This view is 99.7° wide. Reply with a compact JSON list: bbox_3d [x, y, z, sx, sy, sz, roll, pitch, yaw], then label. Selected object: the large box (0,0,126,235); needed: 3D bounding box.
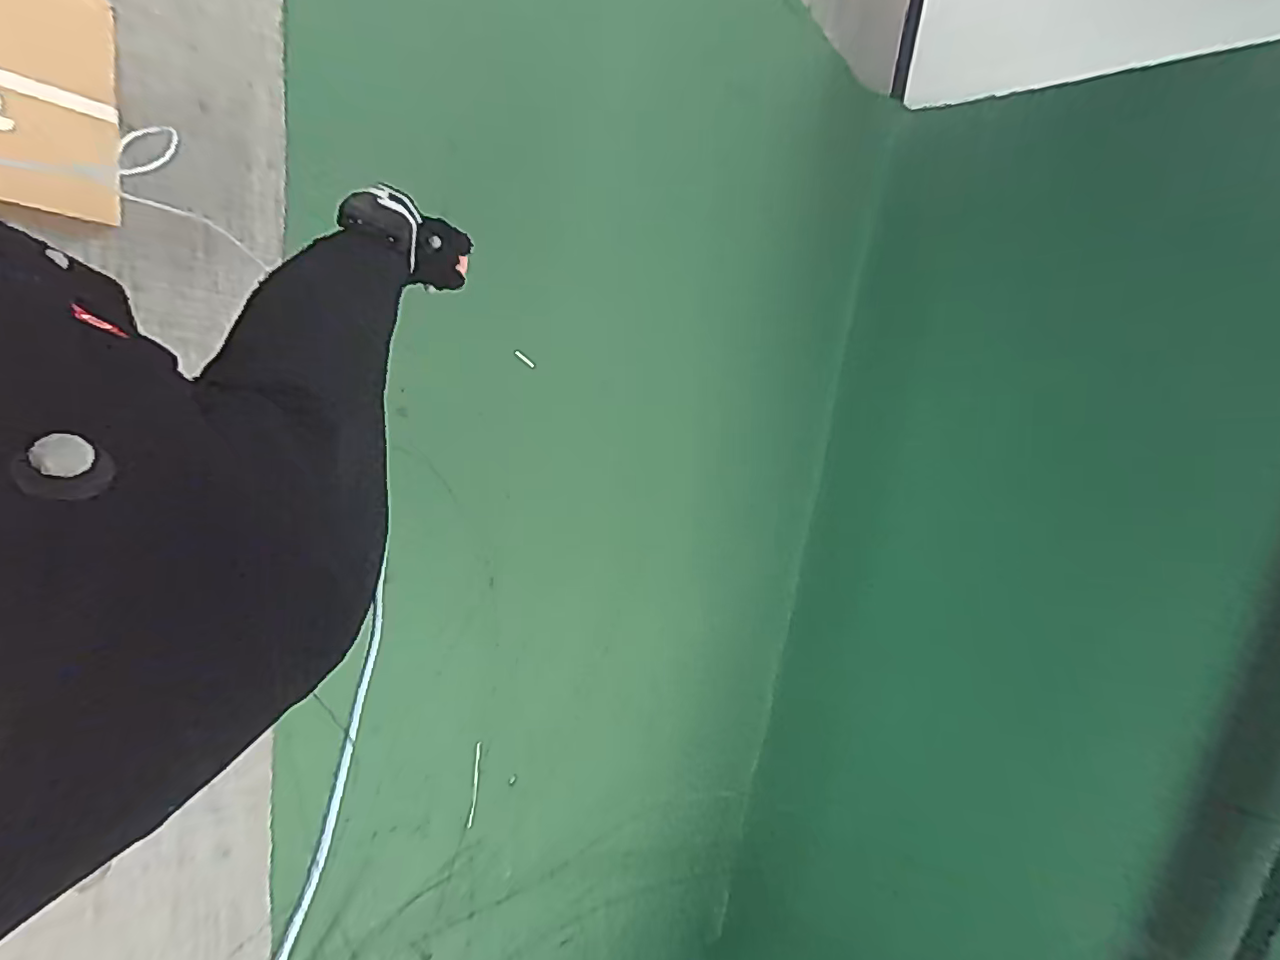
[{"bbox_3d":[-1.026,-0.571,0.760,0.408,0.320,0.320,-4,106,-49],"label":"large box"}]
